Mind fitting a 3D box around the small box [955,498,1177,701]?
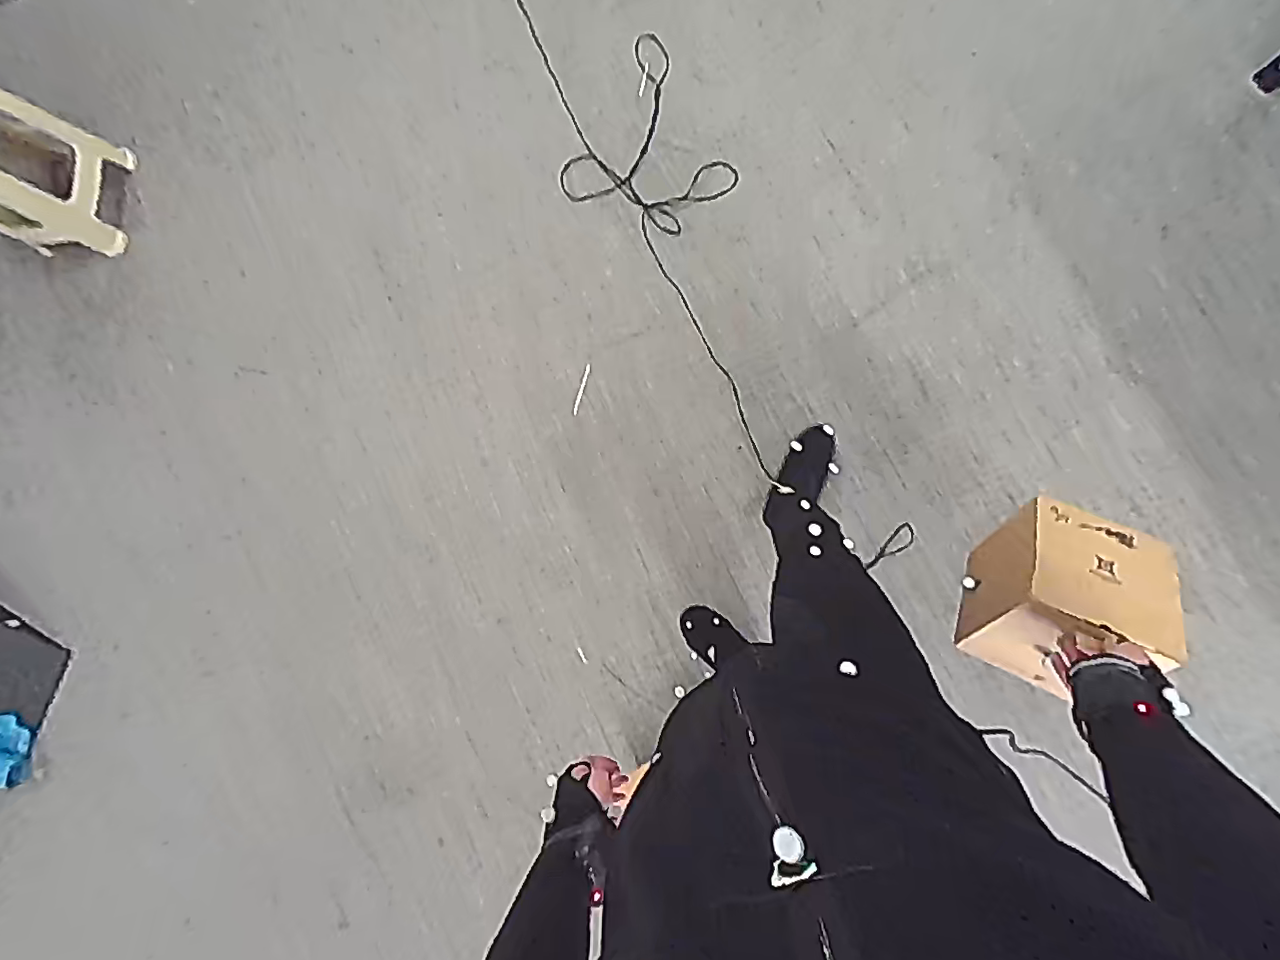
[{"bbox_3d":[0.554,0.164,0.723,0.168,0.176,0.179,27,55,13],"label":"small box"}]
